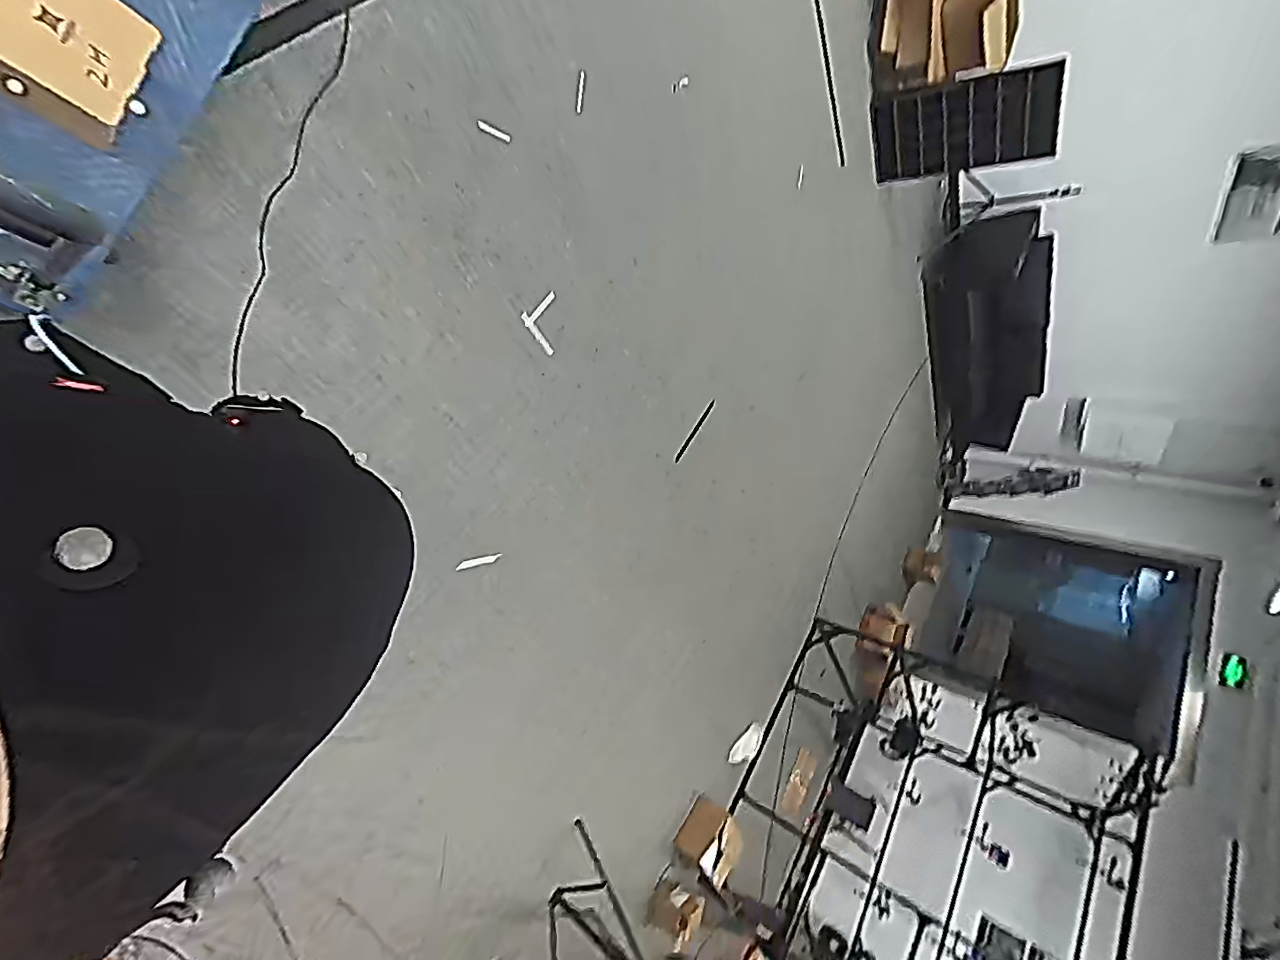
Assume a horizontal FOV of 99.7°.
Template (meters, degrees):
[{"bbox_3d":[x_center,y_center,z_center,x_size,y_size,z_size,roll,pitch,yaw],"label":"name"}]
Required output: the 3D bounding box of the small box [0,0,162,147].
[{"bbox_3d":[-0.844,-0.621,0.778,0.179,0.176,0.168,27,80,-49],"label":"small box"}]
